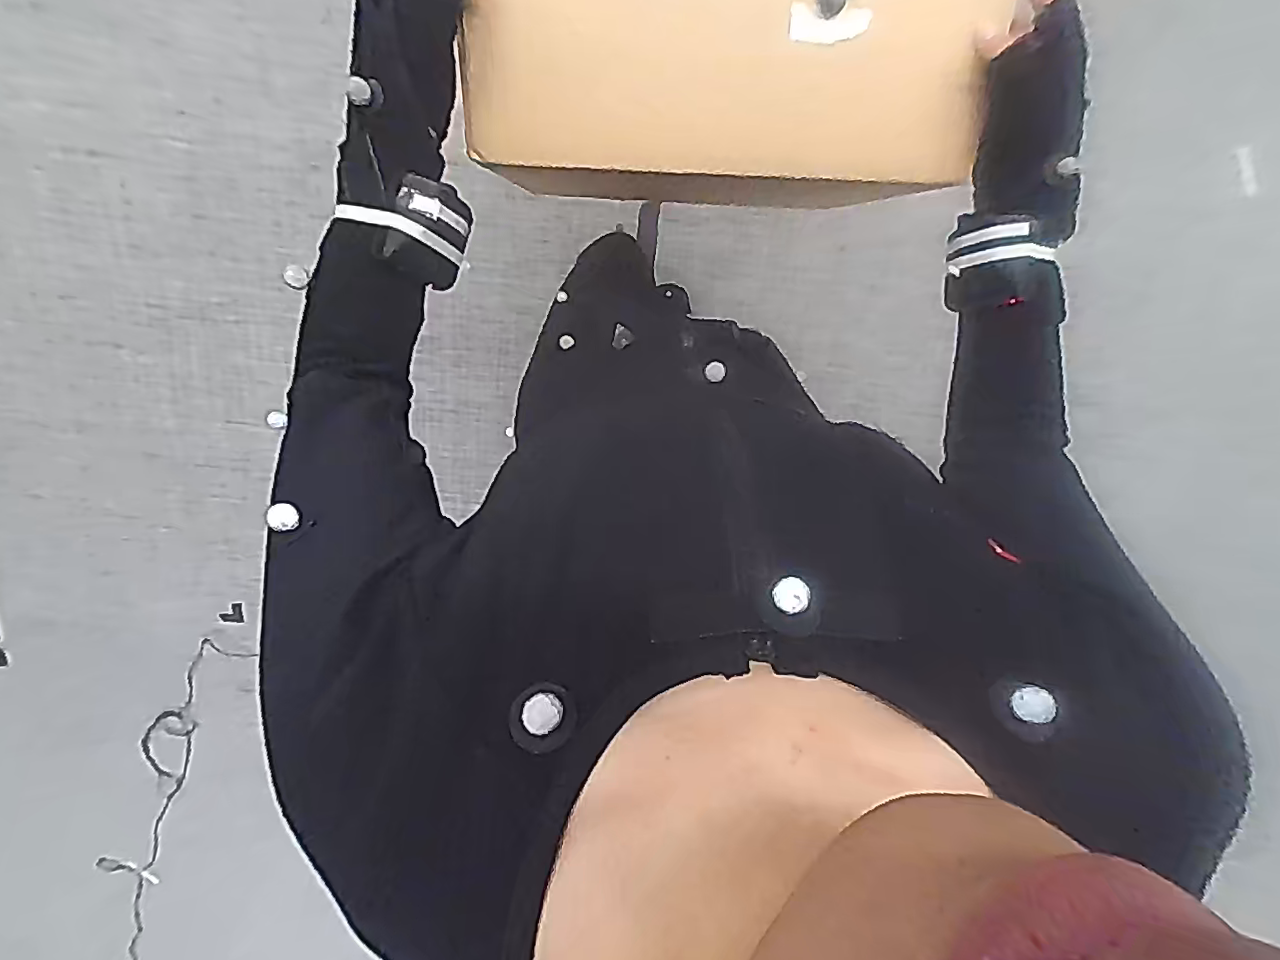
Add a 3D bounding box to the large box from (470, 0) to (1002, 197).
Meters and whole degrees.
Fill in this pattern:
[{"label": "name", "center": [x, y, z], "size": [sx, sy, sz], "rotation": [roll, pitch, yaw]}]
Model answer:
[{"label": "large box", "center": [0.066, -0.458, 0.515], "size": [0.408, 0.320, 0.320], "rotation": [0, 114, -3]}]
